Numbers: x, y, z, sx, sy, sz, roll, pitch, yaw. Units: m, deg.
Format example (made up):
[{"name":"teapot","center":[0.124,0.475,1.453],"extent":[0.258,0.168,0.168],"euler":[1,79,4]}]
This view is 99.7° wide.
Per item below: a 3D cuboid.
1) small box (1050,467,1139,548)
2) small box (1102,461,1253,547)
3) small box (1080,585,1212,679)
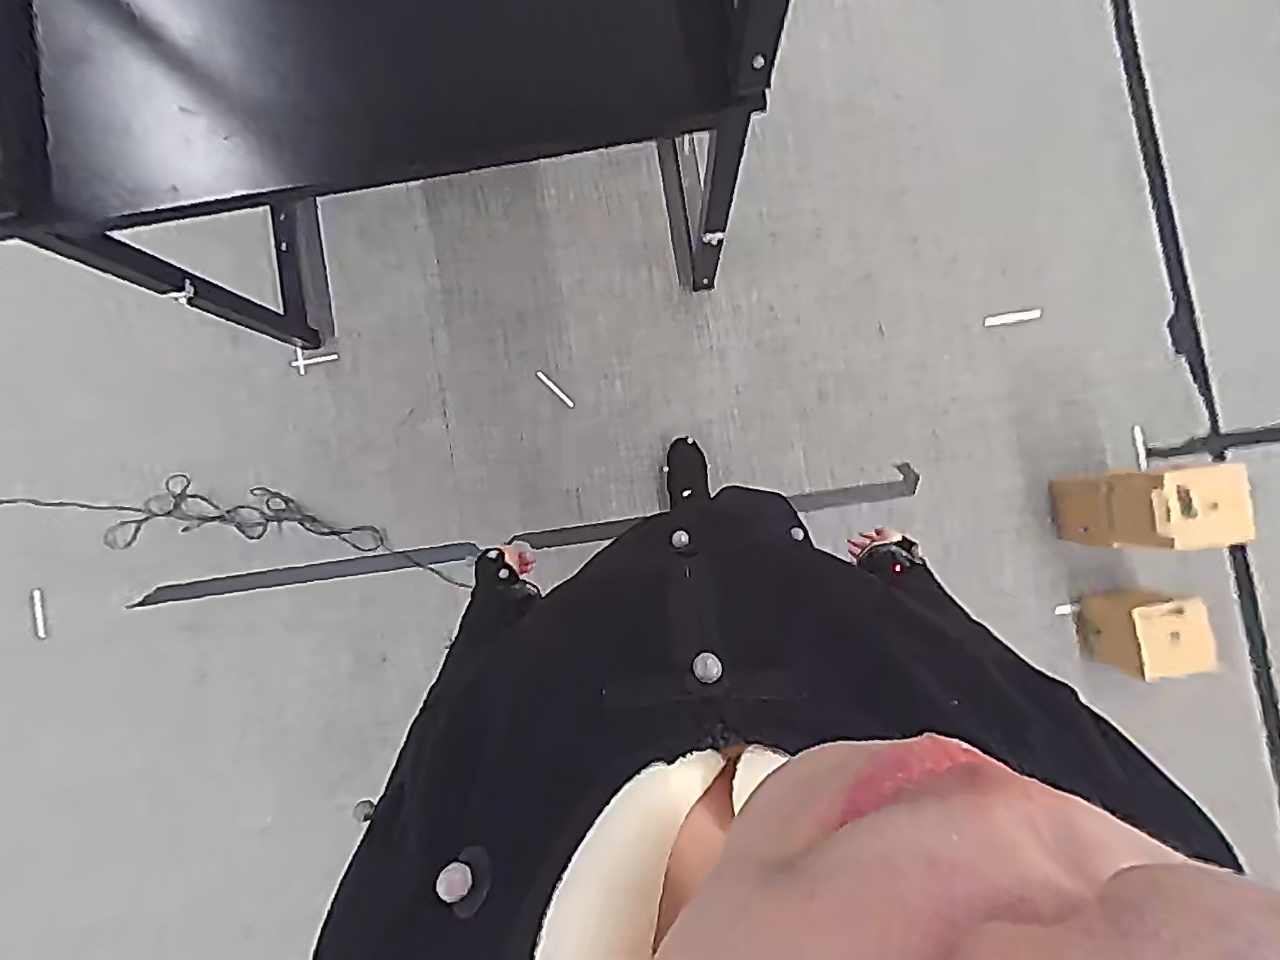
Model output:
[{"name":"small box","center":[1.190,0.064,1.369],"extent":[0.168,0.176,0.179],"euler":[-10,89,2]},{"name":"small box","center":[1.180,0.053,1.205],"extent":[0.179,0.176,0.168],"euler":[-8,89,1]},{"name":"small box","center":[1.262,0.375,1.361],"extent":[0.168,0.176,0.179],"euler":[-10,89,2]}]
